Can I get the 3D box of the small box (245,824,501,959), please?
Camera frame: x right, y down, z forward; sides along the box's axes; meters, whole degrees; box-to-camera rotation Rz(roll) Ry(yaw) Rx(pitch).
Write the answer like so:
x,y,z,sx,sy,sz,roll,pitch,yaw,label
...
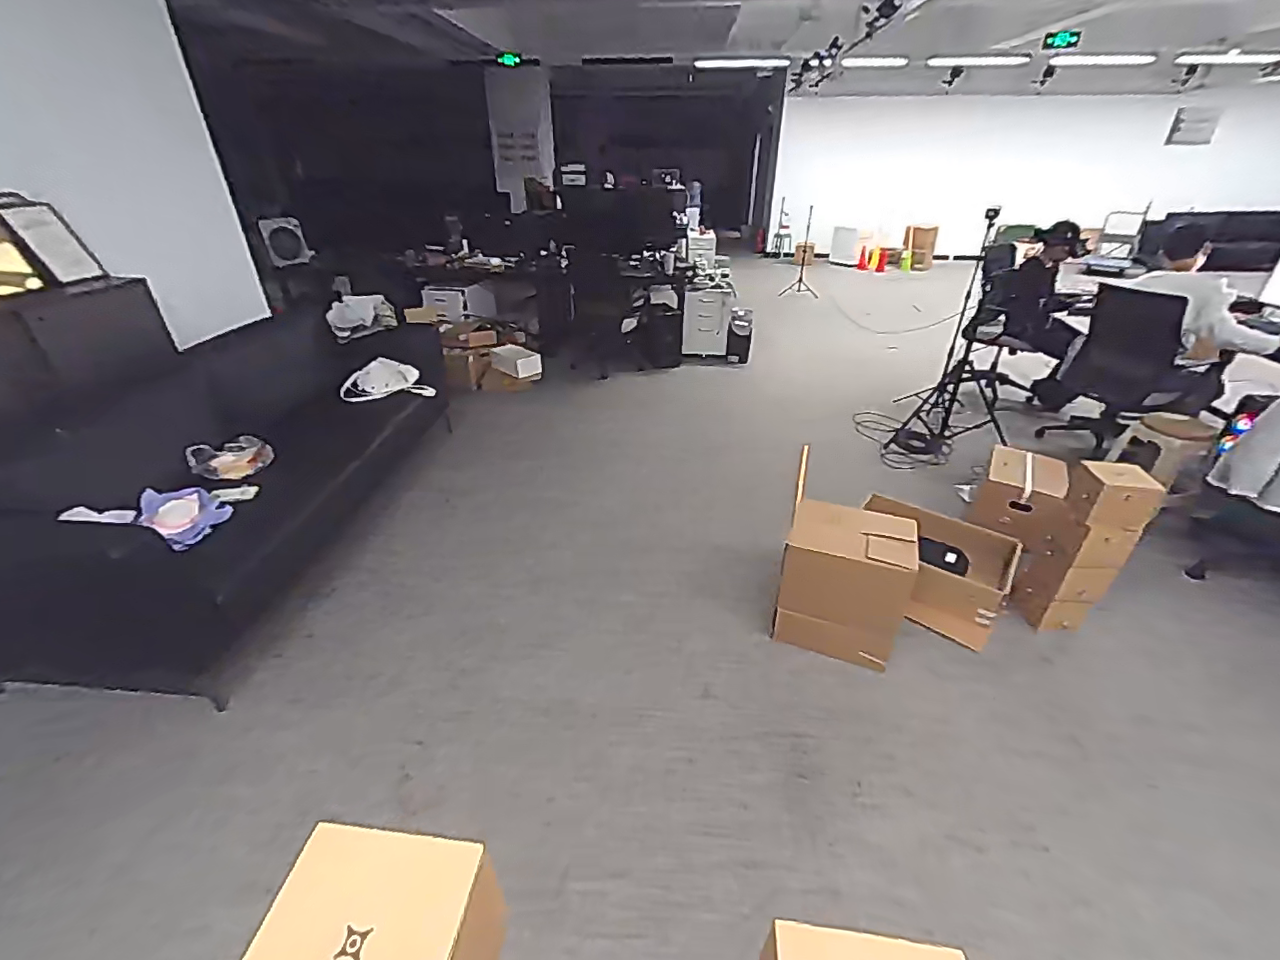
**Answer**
x,y,z,sx,sy,sz,roll,pitch,yaw,label
-0.232,0.446,0.478,0.168,0.176,0.179,4,36,6,small box
